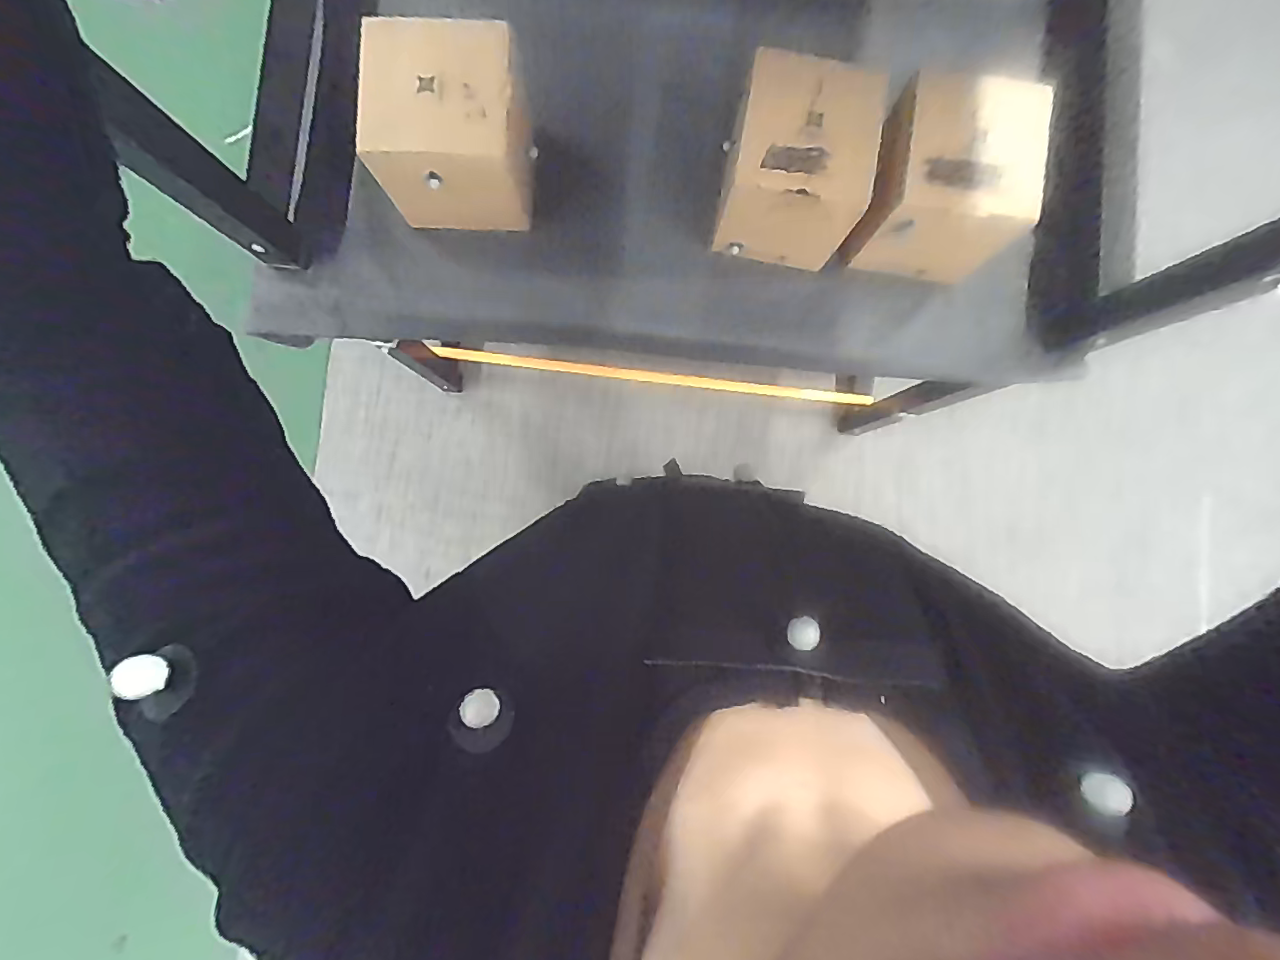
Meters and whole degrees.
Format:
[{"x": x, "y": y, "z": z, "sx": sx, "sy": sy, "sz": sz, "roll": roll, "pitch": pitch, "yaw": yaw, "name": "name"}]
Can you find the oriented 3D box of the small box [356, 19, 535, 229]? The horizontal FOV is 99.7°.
[{"x": -0.243, "y": -0.453, "z": 0.712, "sx": 0.179, "sy": 0.176, "sz": 0.168, "roll": 1, "pitch": 87, "yaw": -2, "name": "small box"}]
